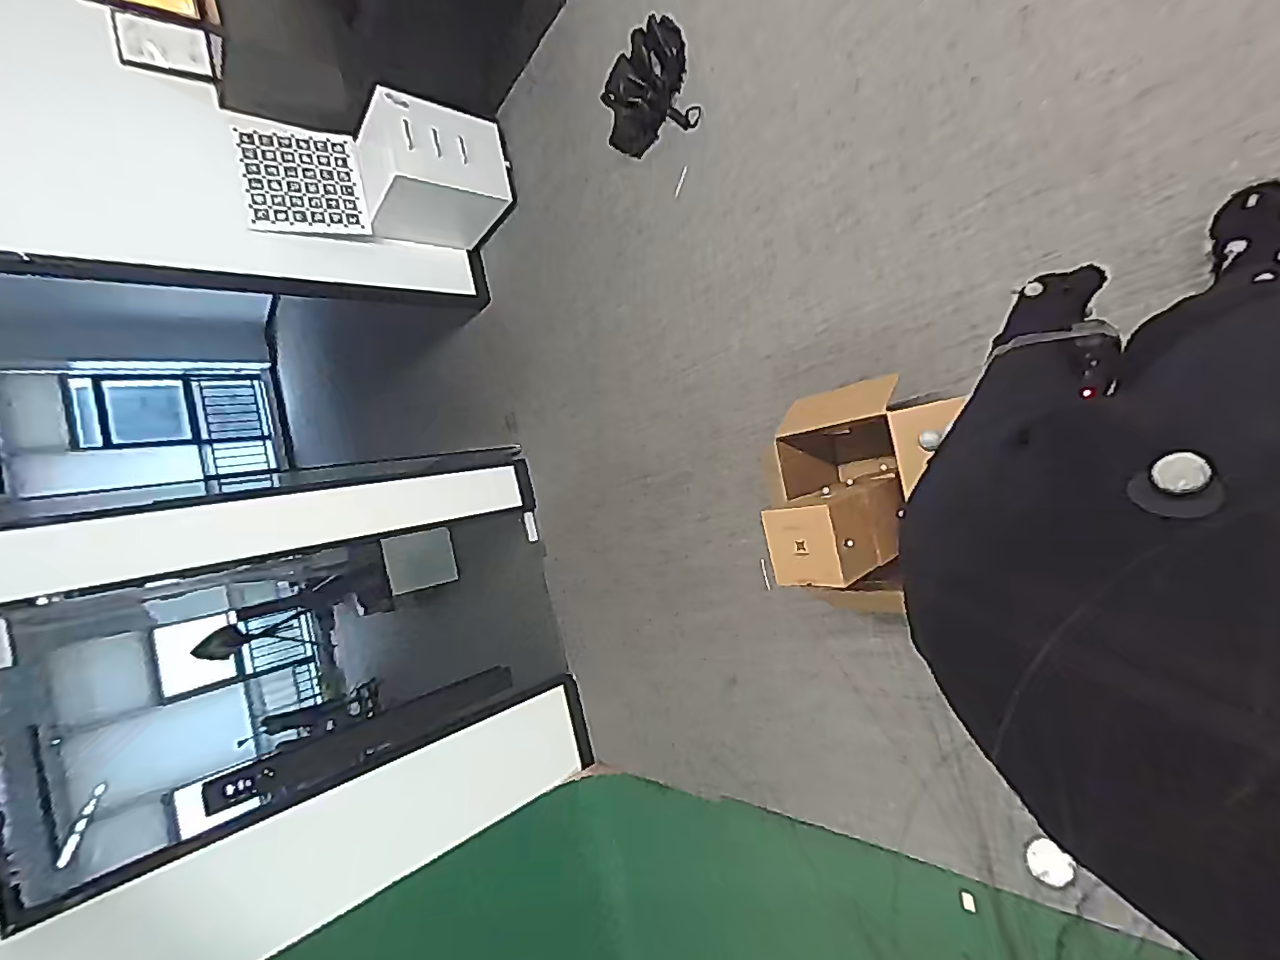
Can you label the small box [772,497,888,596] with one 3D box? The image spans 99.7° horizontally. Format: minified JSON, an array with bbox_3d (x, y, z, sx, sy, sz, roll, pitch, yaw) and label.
[{"bbox_3d":[0.423,0.145,1.196,0.168,0.176,0.179,-13,89,48],"label":"small box"}]
